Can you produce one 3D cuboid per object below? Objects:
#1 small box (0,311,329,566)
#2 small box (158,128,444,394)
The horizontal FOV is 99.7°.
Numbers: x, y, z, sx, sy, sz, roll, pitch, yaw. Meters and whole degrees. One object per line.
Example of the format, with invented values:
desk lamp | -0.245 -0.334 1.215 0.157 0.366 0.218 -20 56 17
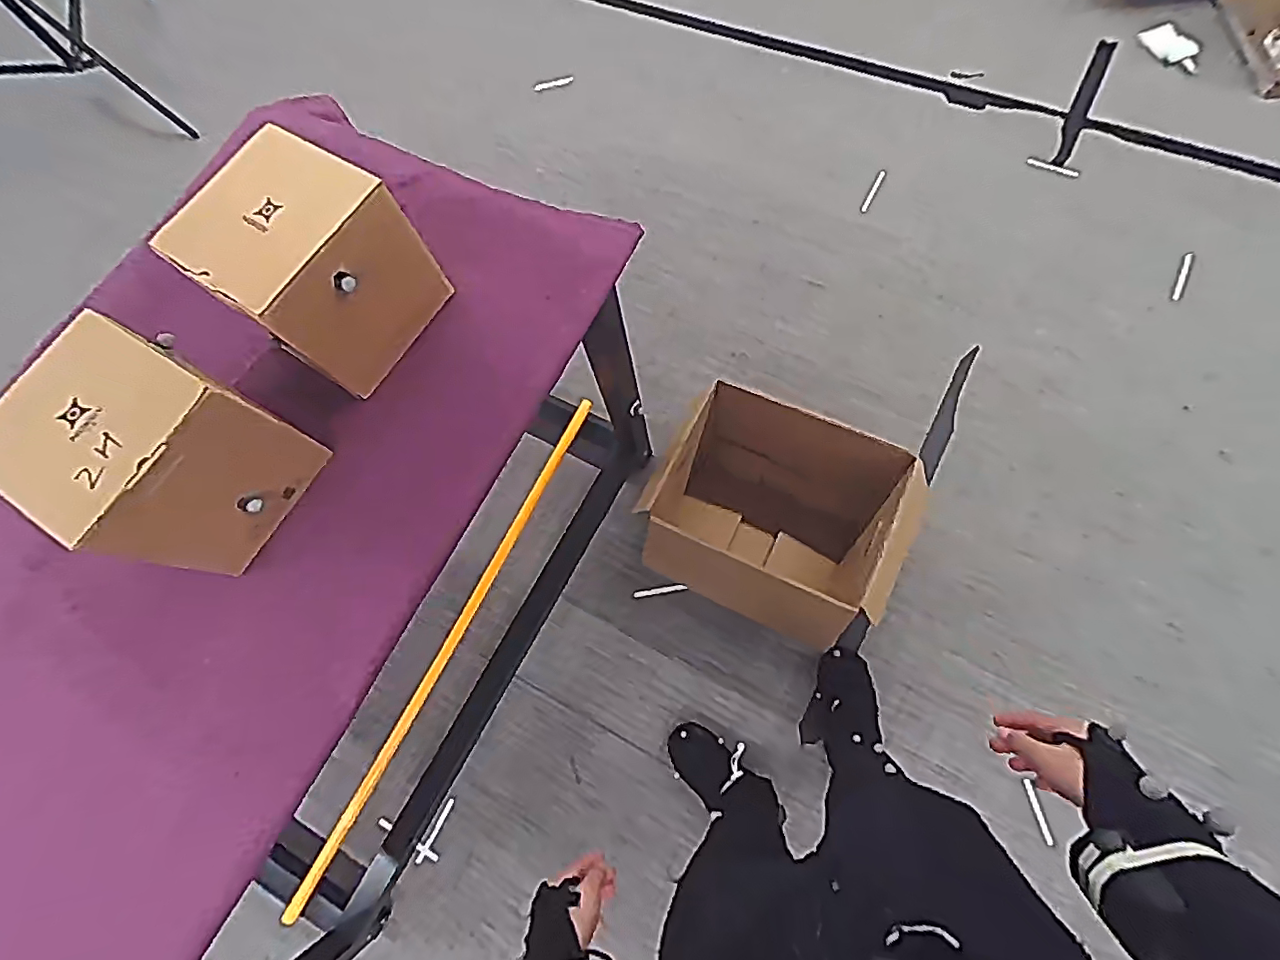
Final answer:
small box | -0.469 -0.028 0.542 0.179 0.176 0.168 29 78 13
small box | -0.346 -0.229 0.596 0.168 0.176 0.179 31 78 15
